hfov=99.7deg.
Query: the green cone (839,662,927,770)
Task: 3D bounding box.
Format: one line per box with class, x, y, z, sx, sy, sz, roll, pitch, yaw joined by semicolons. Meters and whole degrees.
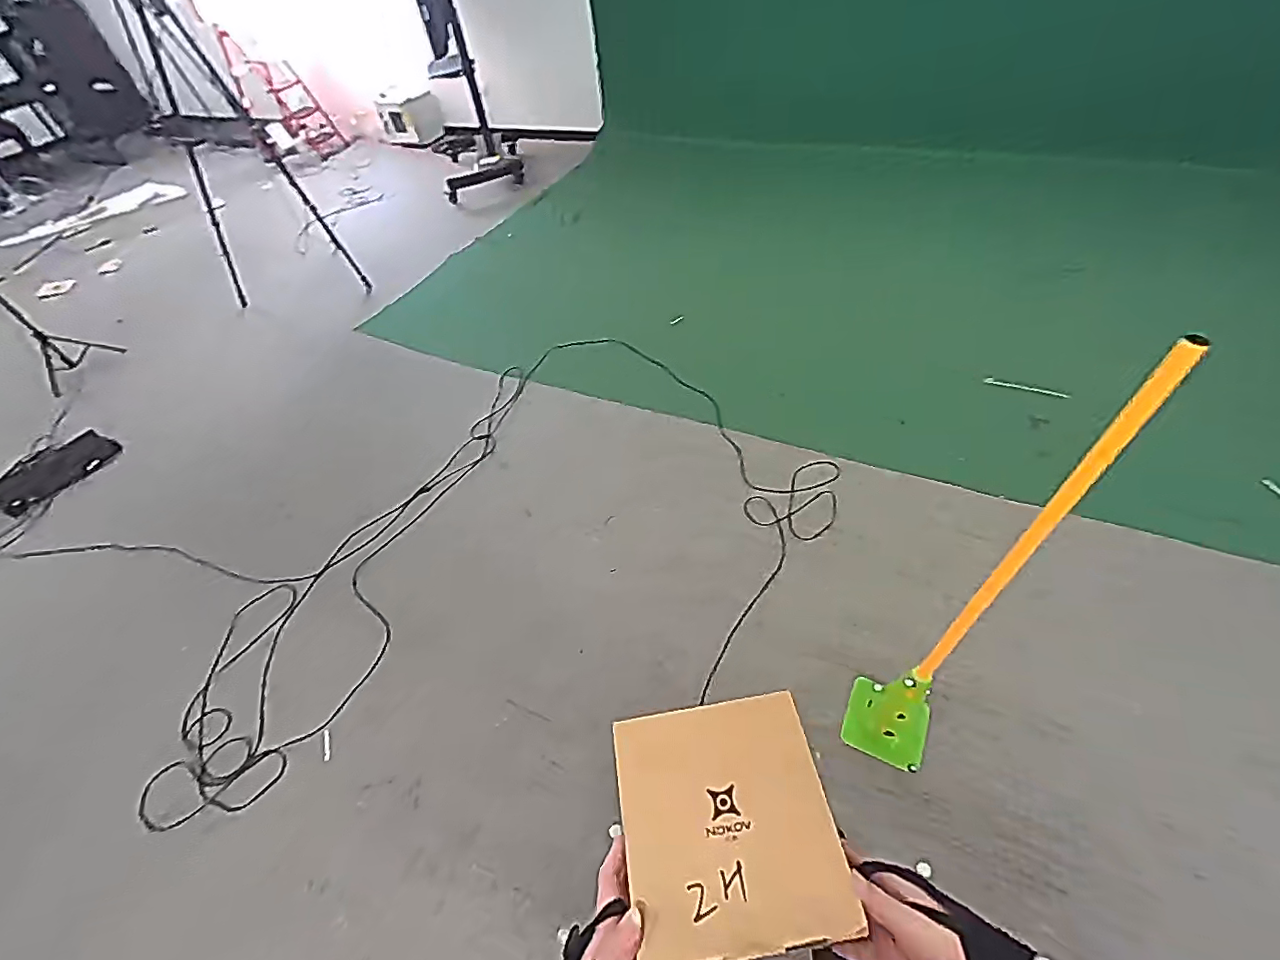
green cone;0.650;0.549;1.359;0.202;0.368;0.200;18;54;23
